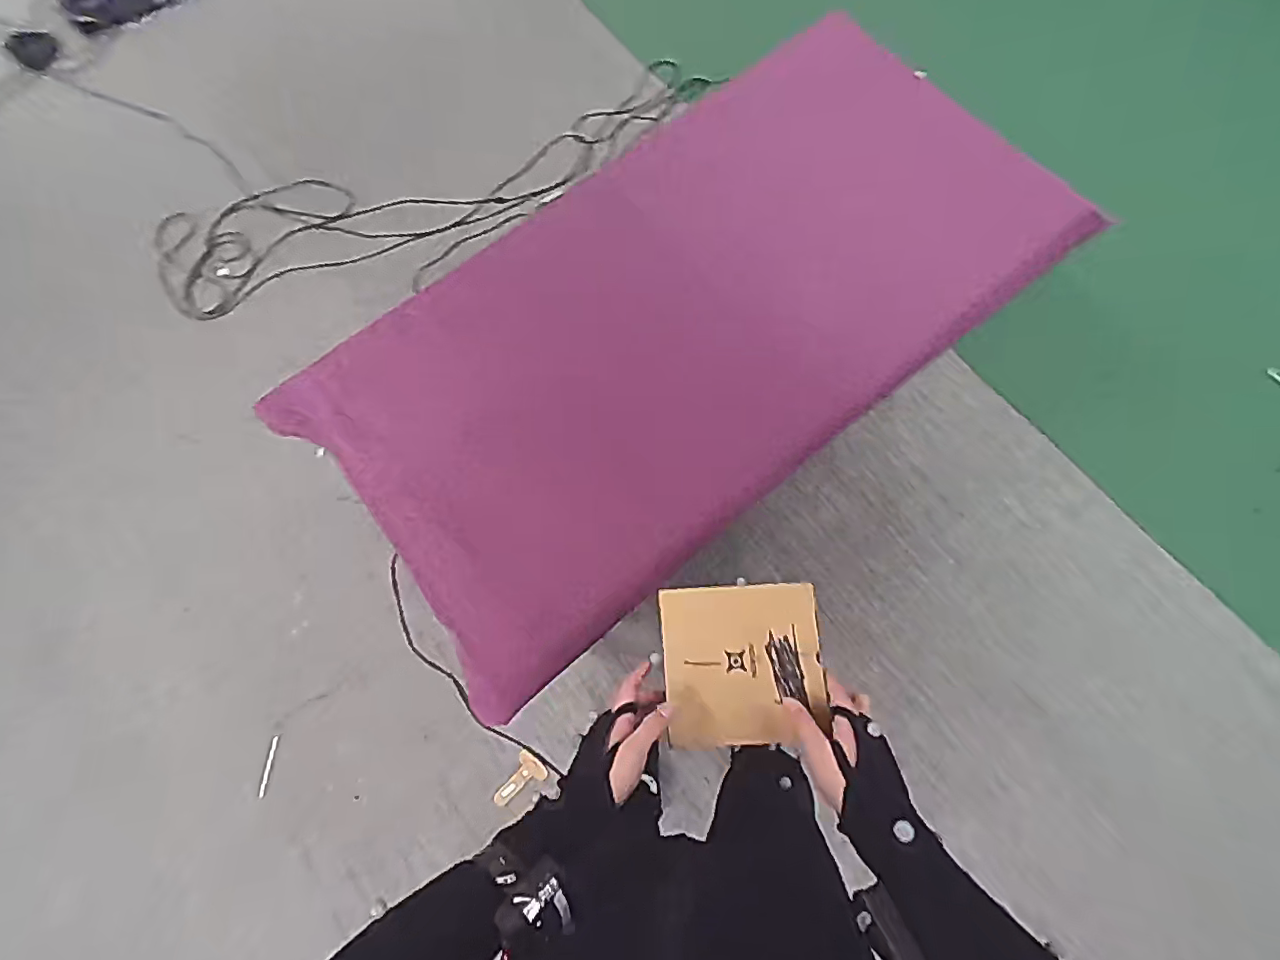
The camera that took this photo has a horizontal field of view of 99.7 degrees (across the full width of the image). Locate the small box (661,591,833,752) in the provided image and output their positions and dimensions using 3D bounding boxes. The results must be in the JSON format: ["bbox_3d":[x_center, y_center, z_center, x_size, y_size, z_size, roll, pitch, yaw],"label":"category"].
[{"bbox_3d":[0.115,0.227,0.658,0.179,0.176,0.168,-2,71,3],"label":"small box"}]

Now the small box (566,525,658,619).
[{"bbox_3d":[-0.065,0.246,1.405,0.179,0.176,0.168,-38,76,-8],"label":"small box"}]
